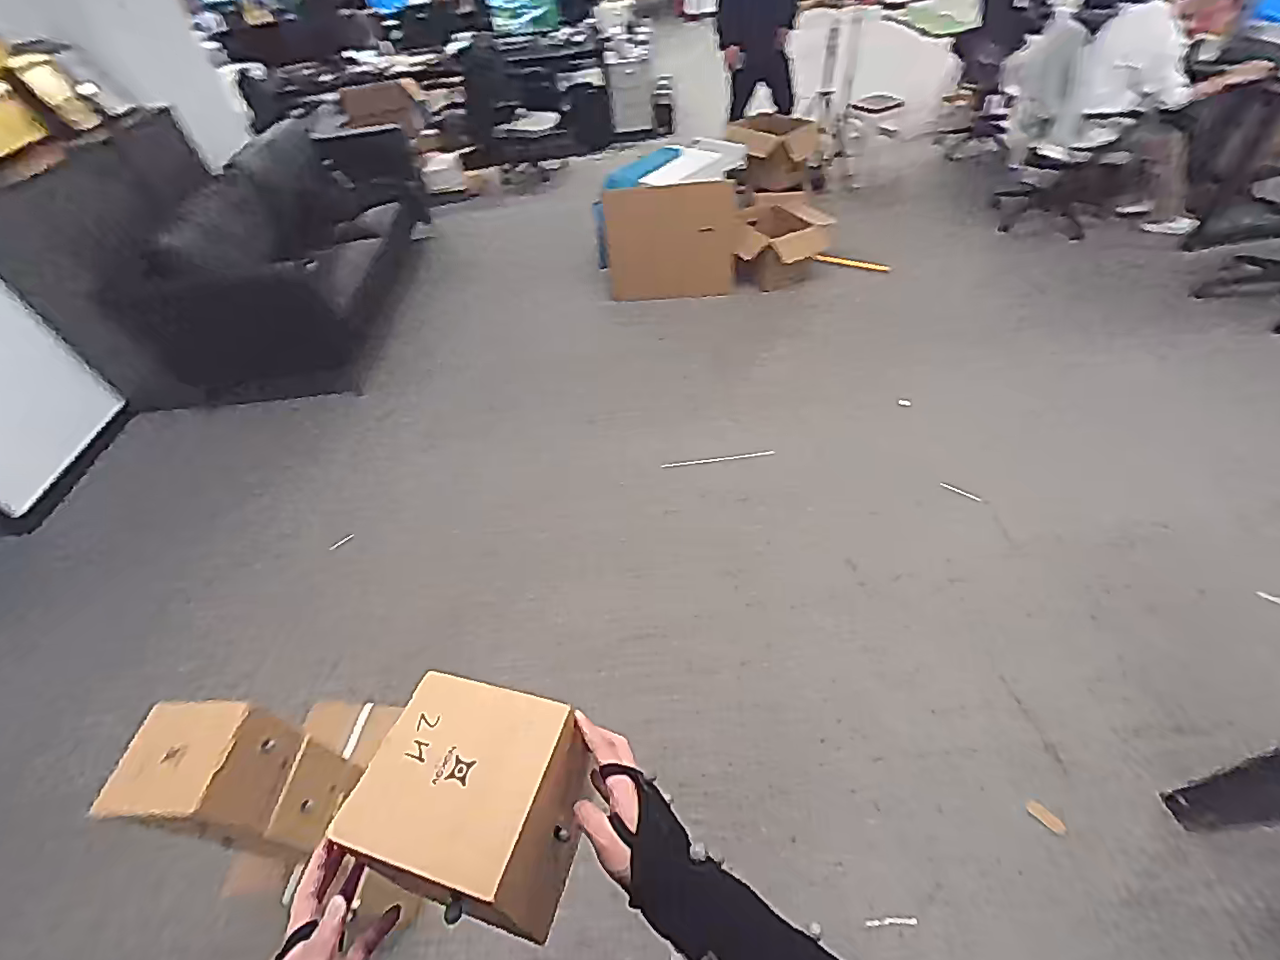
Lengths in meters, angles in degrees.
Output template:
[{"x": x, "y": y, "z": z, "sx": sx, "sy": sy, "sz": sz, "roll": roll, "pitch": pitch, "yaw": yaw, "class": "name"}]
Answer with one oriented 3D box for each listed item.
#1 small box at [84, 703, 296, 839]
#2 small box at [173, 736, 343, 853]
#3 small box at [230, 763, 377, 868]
[{"x": -0.724, "y": 0.484, "z": 0.899, "sx": 0.179, "sy": 0.176, "sz": 0.168, "roll": -3, "pitch": 47, "yaw": 5, "class": "small box"}, {"x": -0.703, "y": 0.592, "z": 1.020, "sx": 0.179, "sy": 0.176, "sz": 0.168, "roll": -2, "pitch": 48, "yaw": 6, "class": "small box"}, {"x": -0.690, "y": 0.704, "z": 1.137, "sx": 0.179, "sy": 0.176, "sz": 0.168, "roll": -1, "pitch": 47, "yaw": 5, "class": "small box"}]
